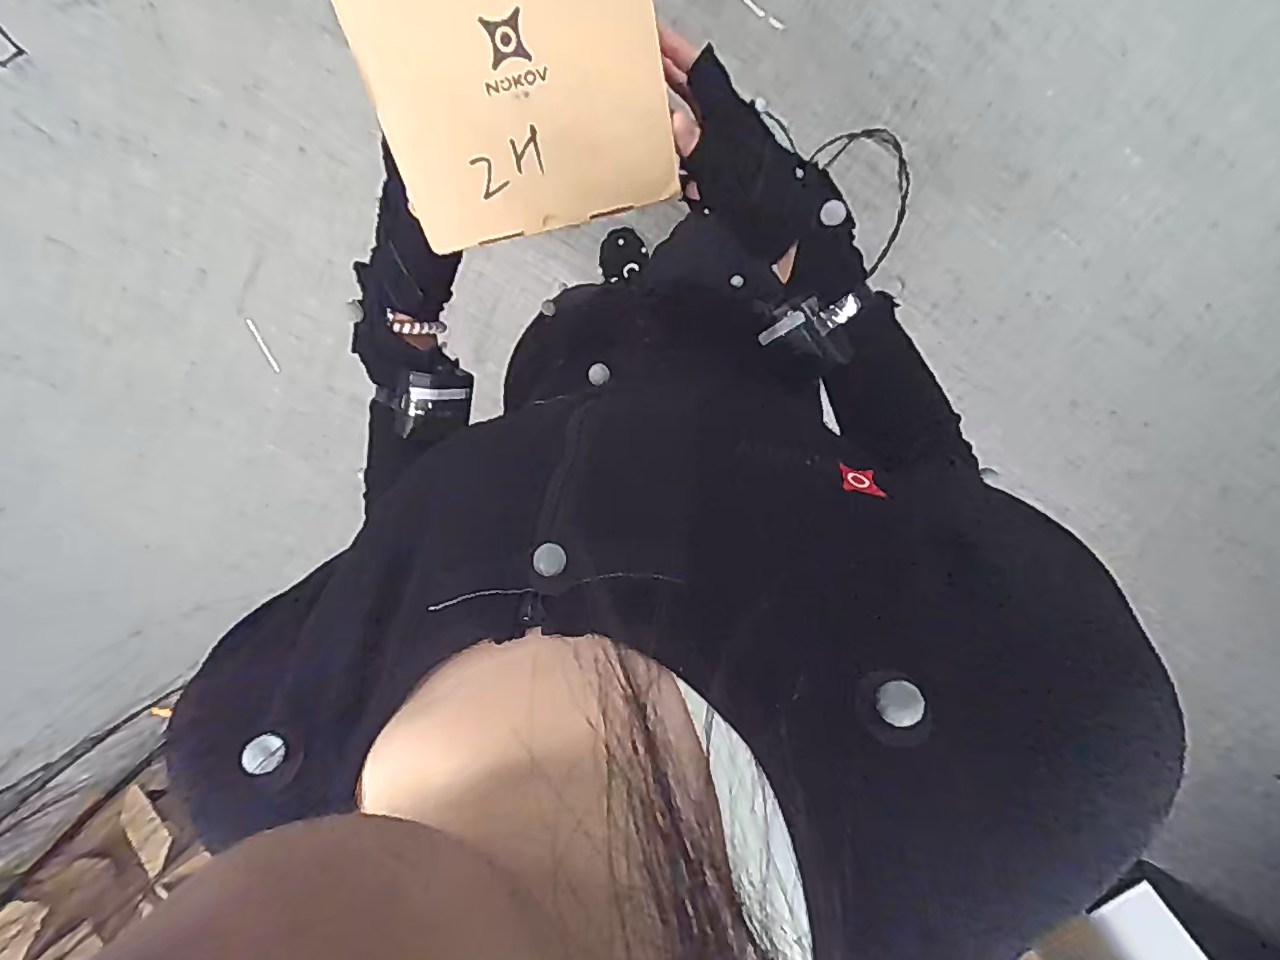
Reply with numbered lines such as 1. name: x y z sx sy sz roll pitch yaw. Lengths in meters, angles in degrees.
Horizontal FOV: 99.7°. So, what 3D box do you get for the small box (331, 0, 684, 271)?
1. small box: -0.070 -0.260 0.360 0.168 0.176 0.179 -10 124 6
